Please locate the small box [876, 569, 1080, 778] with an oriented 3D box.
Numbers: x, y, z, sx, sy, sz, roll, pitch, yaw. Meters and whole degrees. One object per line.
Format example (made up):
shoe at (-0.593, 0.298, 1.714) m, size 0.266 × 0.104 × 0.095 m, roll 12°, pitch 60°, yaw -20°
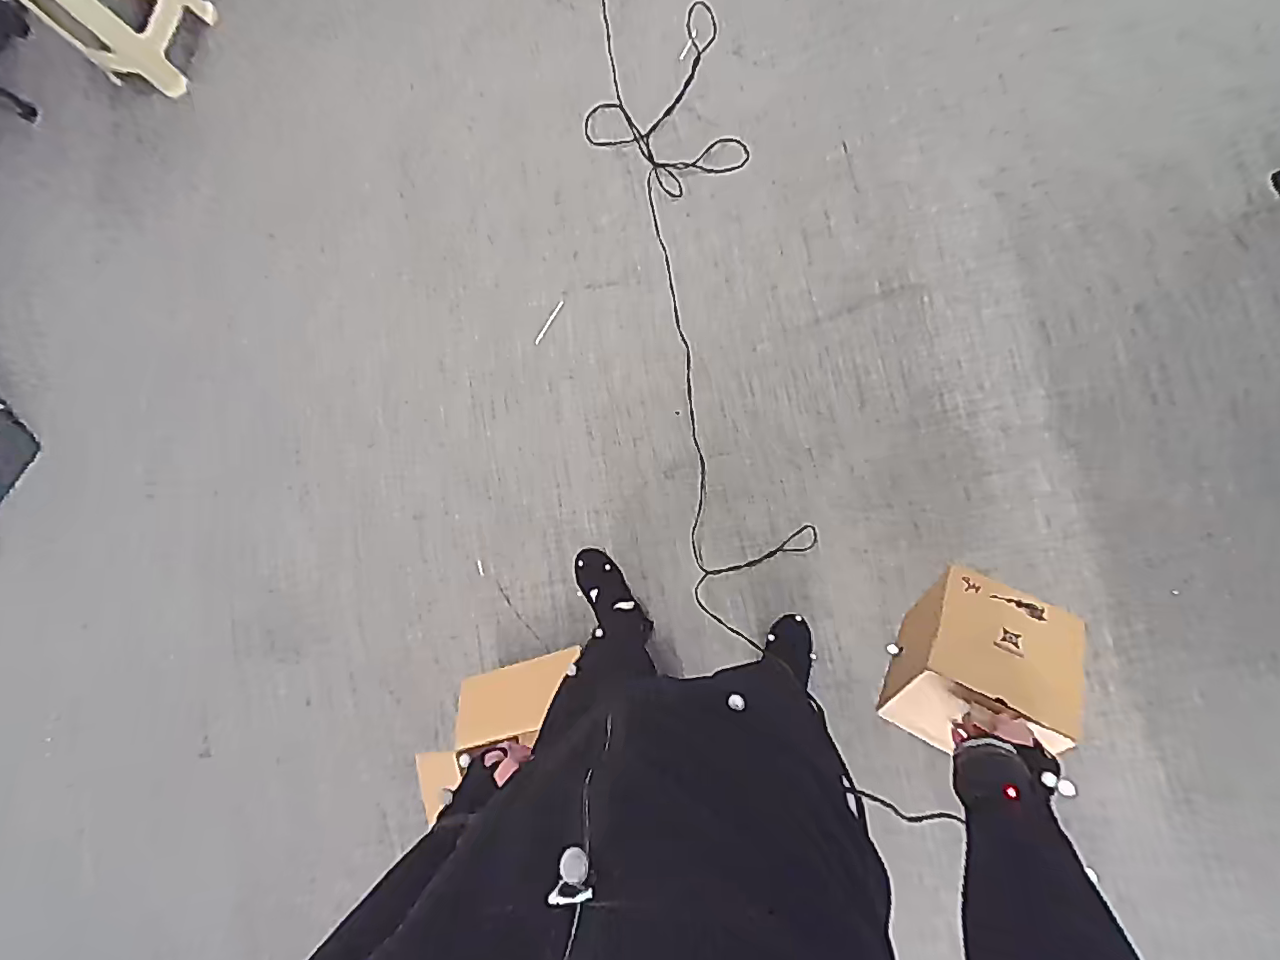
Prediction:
small box at (0.439, 0.260, 0.721) m, size 0.168 × 0.176 × 0.179 m, roll 27°, pitch 53°, yaw 18°
